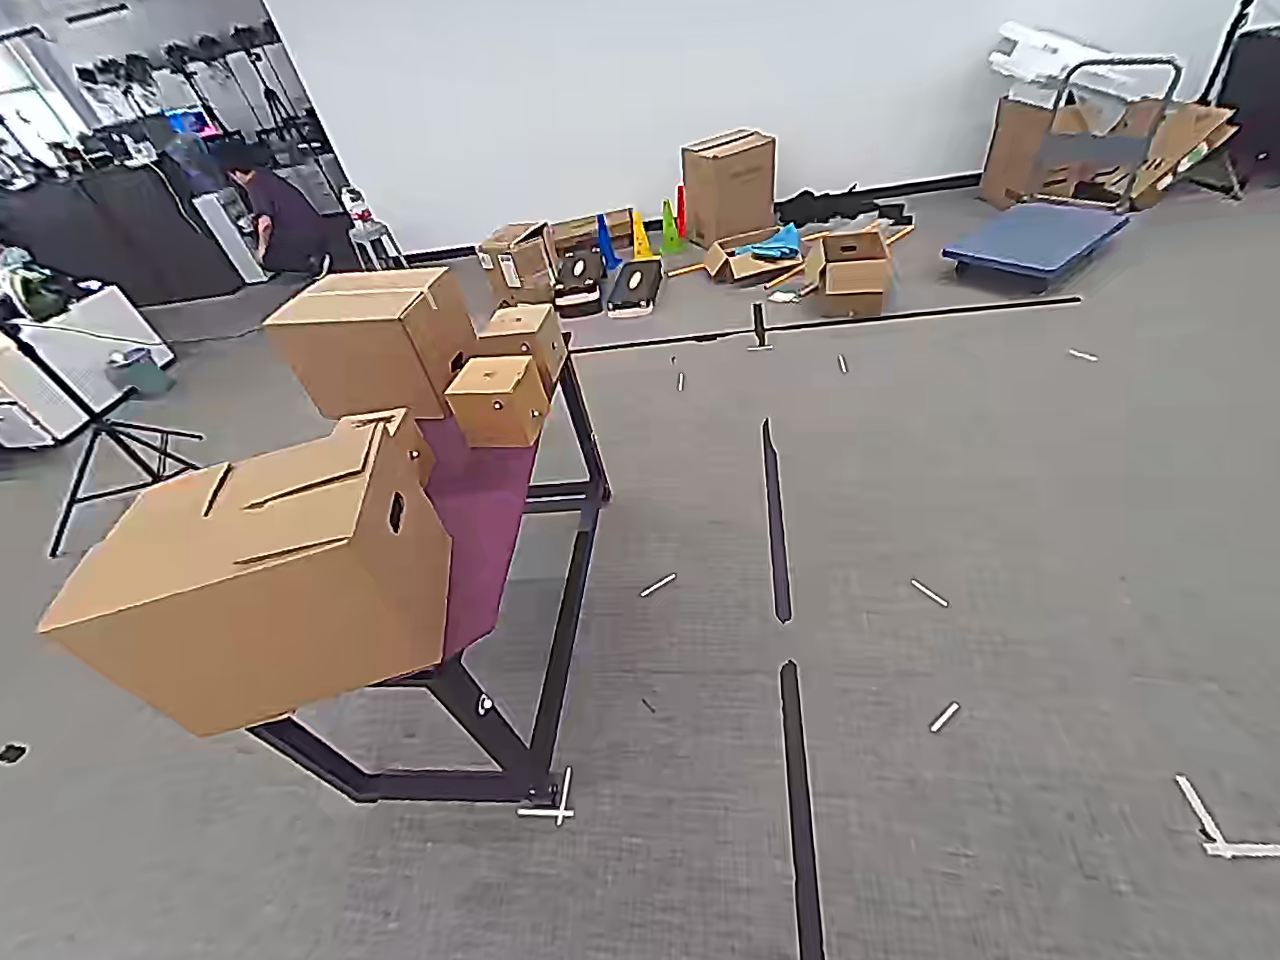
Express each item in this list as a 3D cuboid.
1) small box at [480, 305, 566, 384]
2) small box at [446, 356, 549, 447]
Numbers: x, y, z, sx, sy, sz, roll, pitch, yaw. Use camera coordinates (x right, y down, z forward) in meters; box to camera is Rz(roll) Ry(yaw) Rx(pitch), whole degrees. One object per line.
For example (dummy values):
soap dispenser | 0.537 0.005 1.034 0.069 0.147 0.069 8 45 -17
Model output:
small box | -0.330 -0.386 1.570 0.179 0.176 0.168 -3 43 14
small box | -0.352 -0.196 1.372 0.179 0.176 0.168 1 43 14
